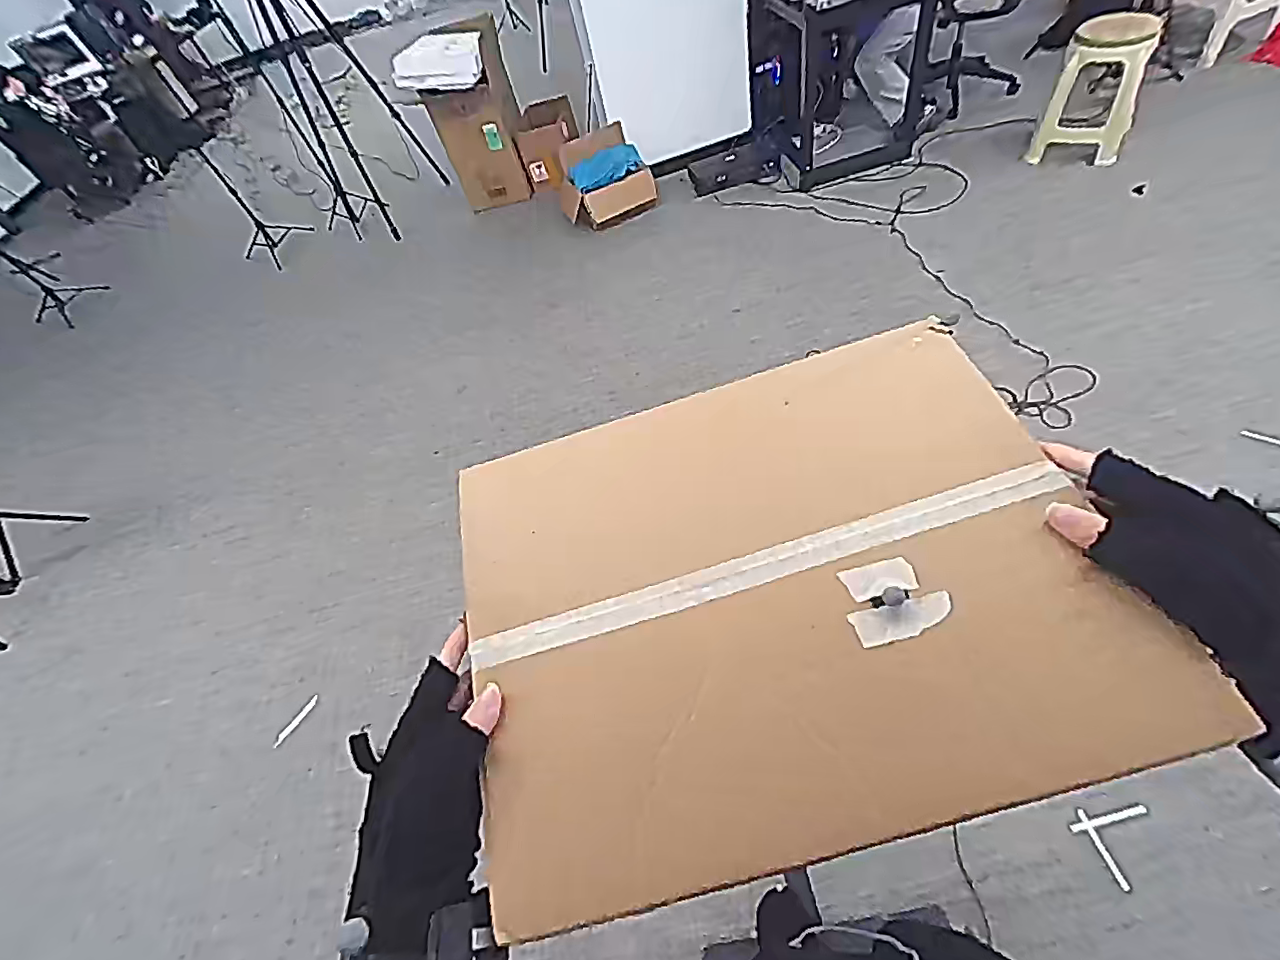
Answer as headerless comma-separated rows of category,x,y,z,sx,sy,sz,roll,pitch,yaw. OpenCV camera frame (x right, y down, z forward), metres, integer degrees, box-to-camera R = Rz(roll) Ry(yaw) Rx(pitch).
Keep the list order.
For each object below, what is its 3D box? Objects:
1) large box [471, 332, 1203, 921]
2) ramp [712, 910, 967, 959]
large box,0.107,0.136,0.499,0.408,0.320,0.320,-18,59,2
ramp,0.424,1.238,0.721,0.509,0.206,0.991,-16,50,5
